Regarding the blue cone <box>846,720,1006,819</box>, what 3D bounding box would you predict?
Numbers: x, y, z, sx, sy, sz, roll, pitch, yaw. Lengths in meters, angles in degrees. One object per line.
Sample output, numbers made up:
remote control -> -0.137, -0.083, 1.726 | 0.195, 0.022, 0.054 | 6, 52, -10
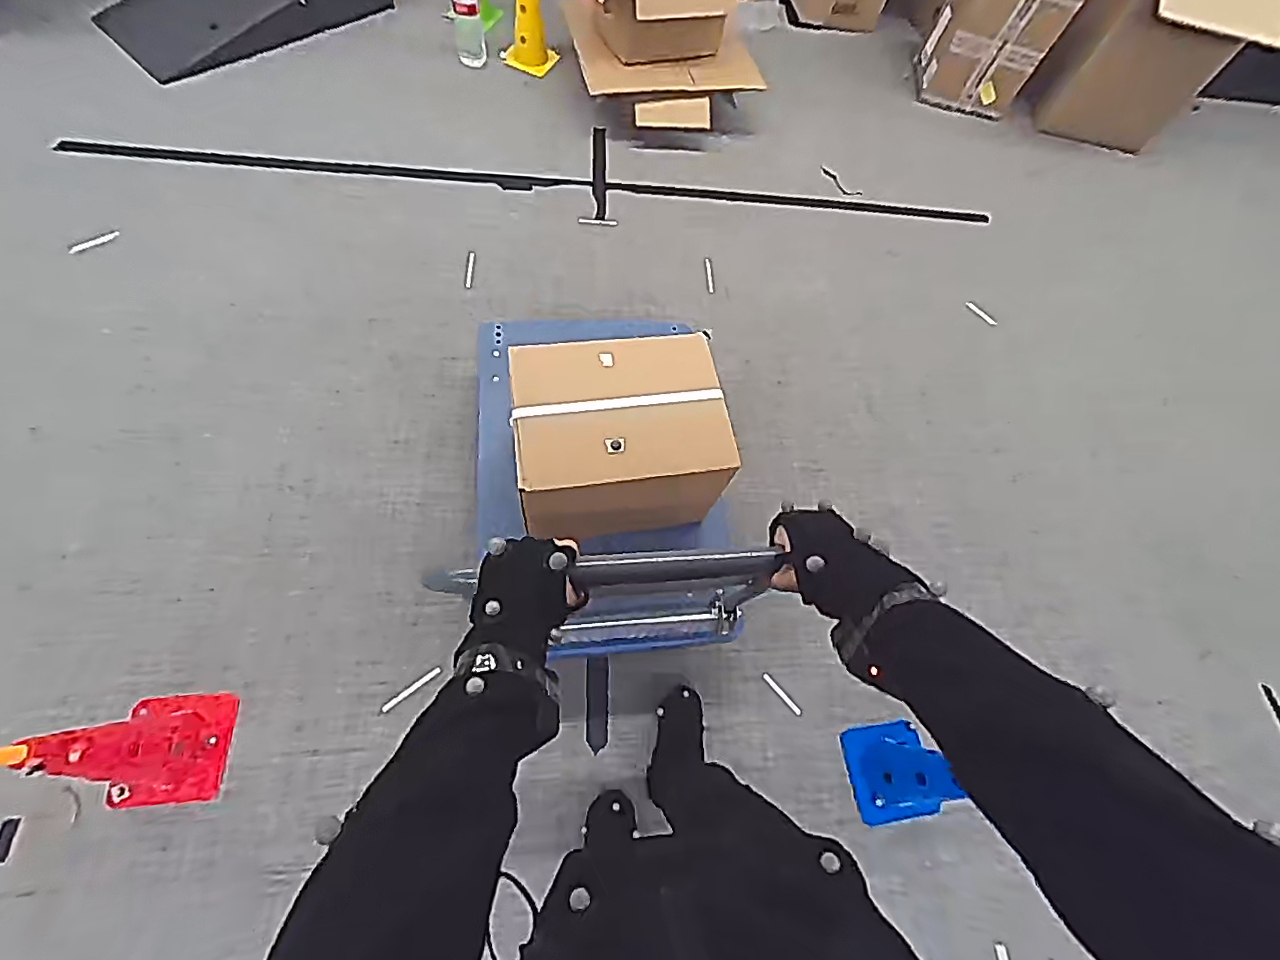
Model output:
blue cone -> 0.609, 0.599, 1.114 | 0.193, 0.380, 0.192 | -2, 64, -10
